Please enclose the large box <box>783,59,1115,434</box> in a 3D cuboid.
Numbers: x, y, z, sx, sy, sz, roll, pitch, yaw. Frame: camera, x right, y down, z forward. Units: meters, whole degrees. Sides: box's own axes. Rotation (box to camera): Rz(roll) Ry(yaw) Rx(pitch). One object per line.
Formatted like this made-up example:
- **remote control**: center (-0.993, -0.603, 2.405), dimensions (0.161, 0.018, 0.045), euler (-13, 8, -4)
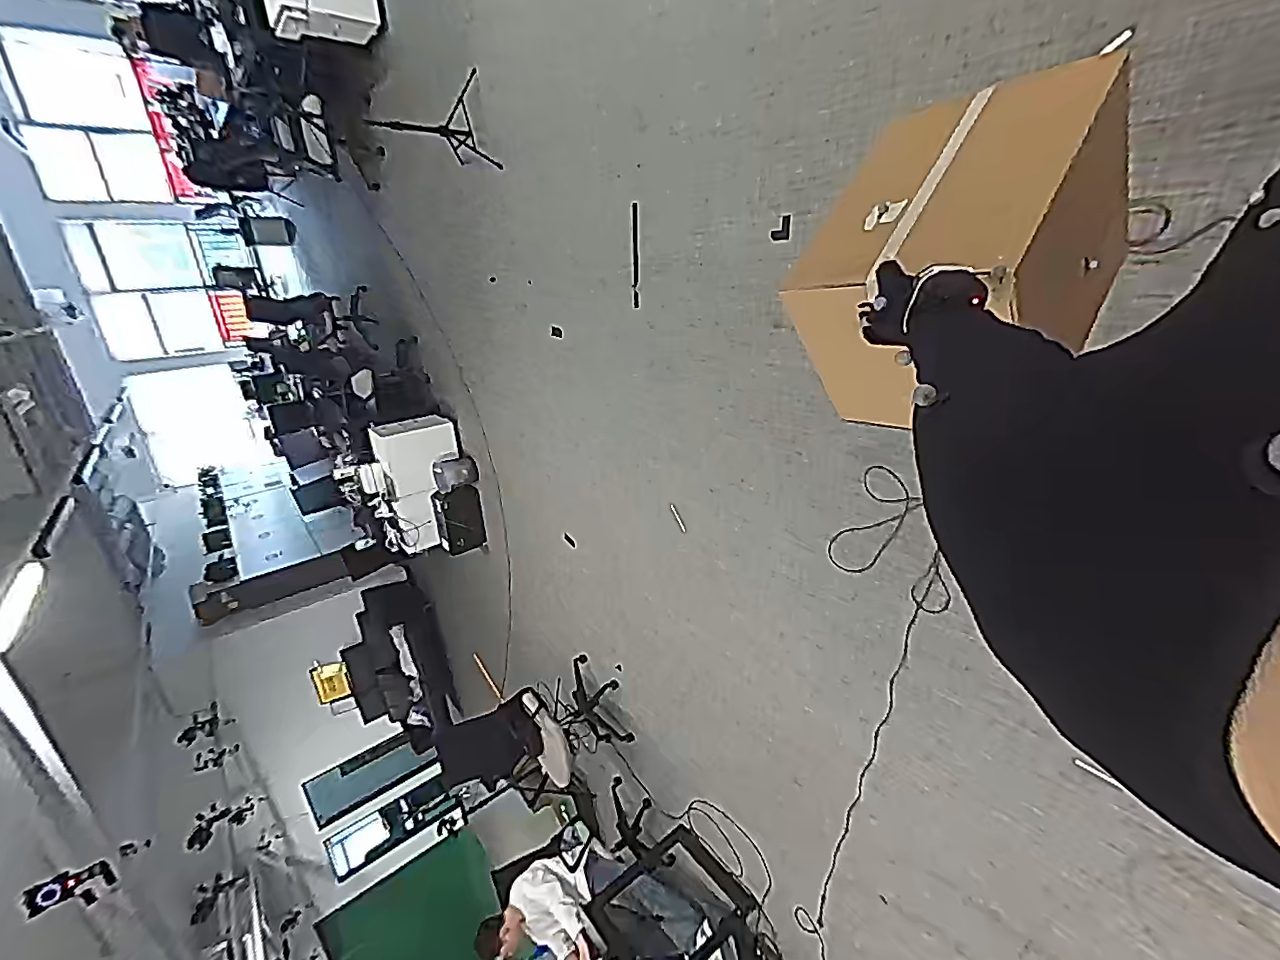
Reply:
- **large box**: center (0.499, -0.337, 0.856), dimensions (0.320, 0.408, 0.320), euler (17, 159, 49)
